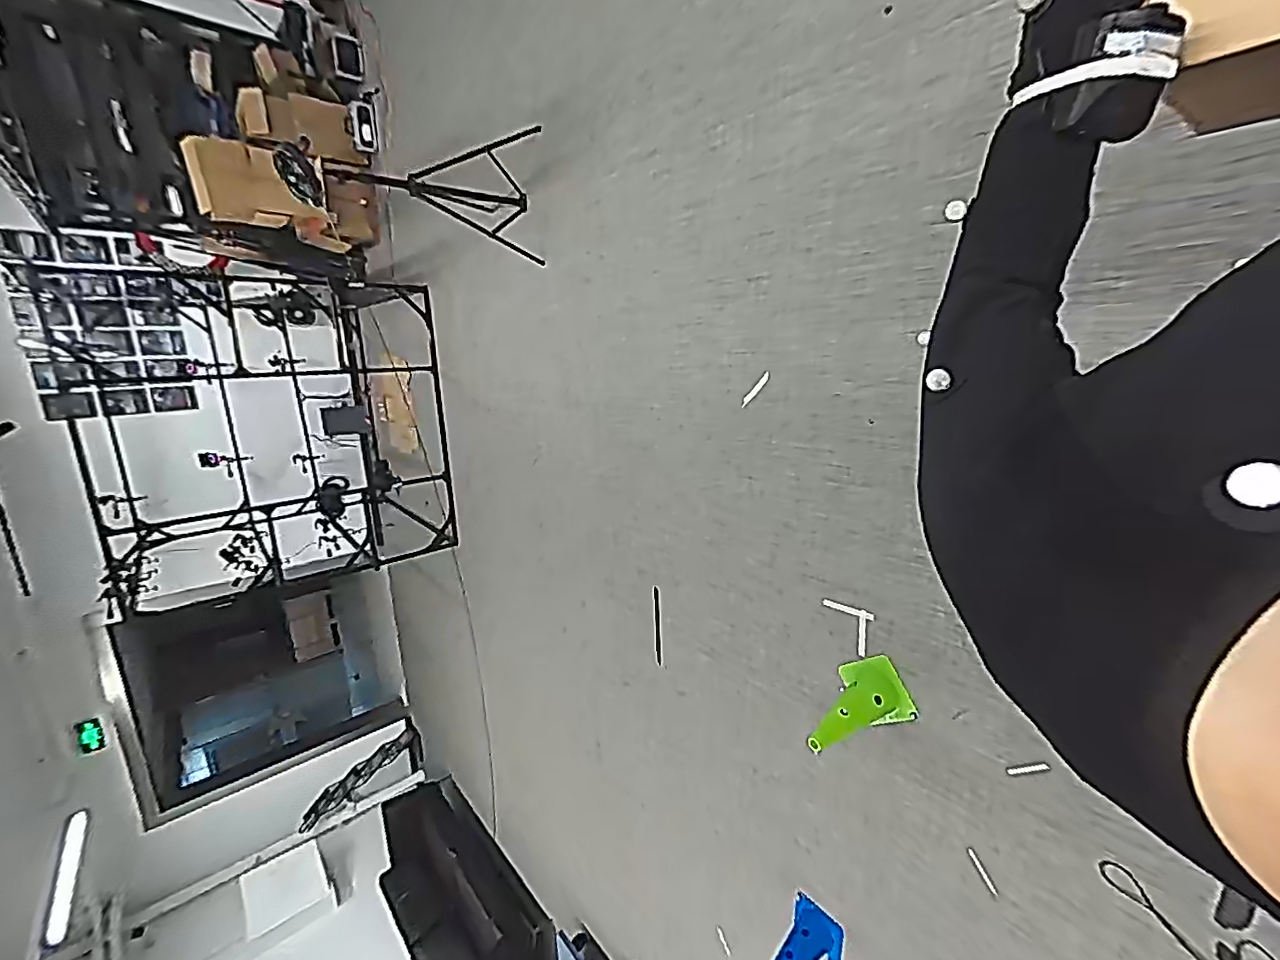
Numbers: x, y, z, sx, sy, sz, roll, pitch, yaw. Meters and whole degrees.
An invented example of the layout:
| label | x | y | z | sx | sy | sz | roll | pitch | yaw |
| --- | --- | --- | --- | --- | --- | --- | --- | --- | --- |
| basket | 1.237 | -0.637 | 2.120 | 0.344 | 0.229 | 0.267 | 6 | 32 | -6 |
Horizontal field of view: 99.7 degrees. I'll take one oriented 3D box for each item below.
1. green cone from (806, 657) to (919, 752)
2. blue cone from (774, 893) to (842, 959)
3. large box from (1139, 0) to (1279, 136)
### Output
| label | x | y | z | sx | sy | sz | roll | pitch | yaw |
| --- | --- | --- | --- | --- | --- | --- | --- | --- | --- |
| green cone | 0.615 | 0.693 | 1.593 | 0.202 | 0.368 | 0.200 | -44 | 65 | 49 |
| blue cone | 0.563 | 1.754 | 1.983 | 0.192 | 0.380 | 0.193 | 19 | 114 | 48 |
| large box | 0.560 | -0.427 | 0.270 | 0.408 | 0.320 | 0.320 | 13 | 115 | 48 |
